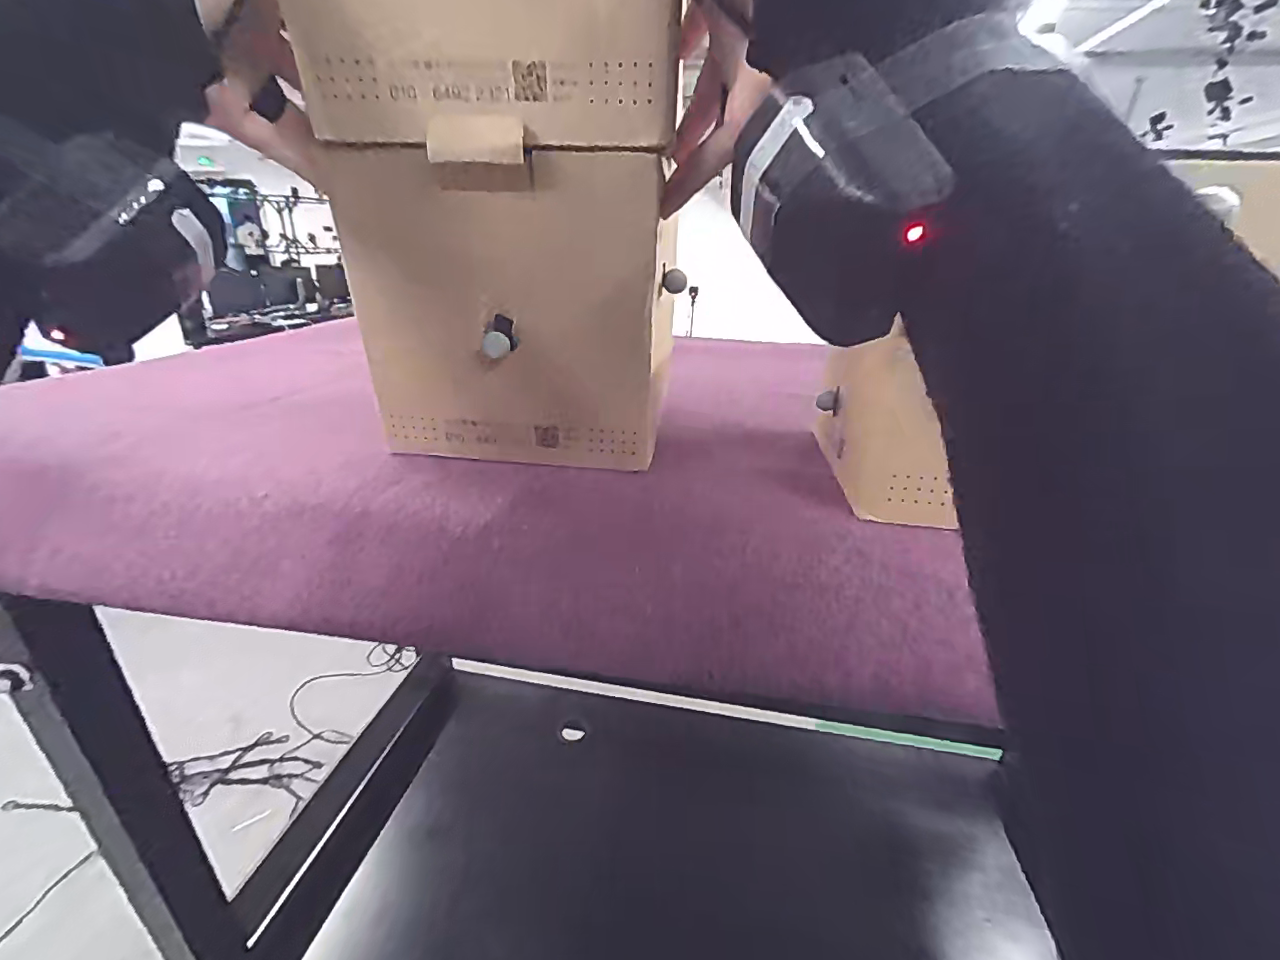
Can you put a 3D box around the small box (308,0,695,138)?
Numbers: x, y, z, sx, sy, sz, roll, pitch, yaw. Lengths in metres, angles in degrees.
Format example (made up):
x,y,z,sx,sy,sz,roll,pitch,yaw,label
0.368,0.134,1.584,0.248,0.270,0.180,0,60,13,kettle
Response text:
x,y,z,sx,sy,sz,roll,pitch,yaw,label
-0.055,-0.268,0.270,0.168,0.176,0.179,3,31,3,small box

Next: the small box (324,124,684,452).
x,y,z,sx,sy,sz,roll,pitch,yaw,label
-0.061,-0.130,0.358,0.168,0.176,0.179,5,31,4,small box
